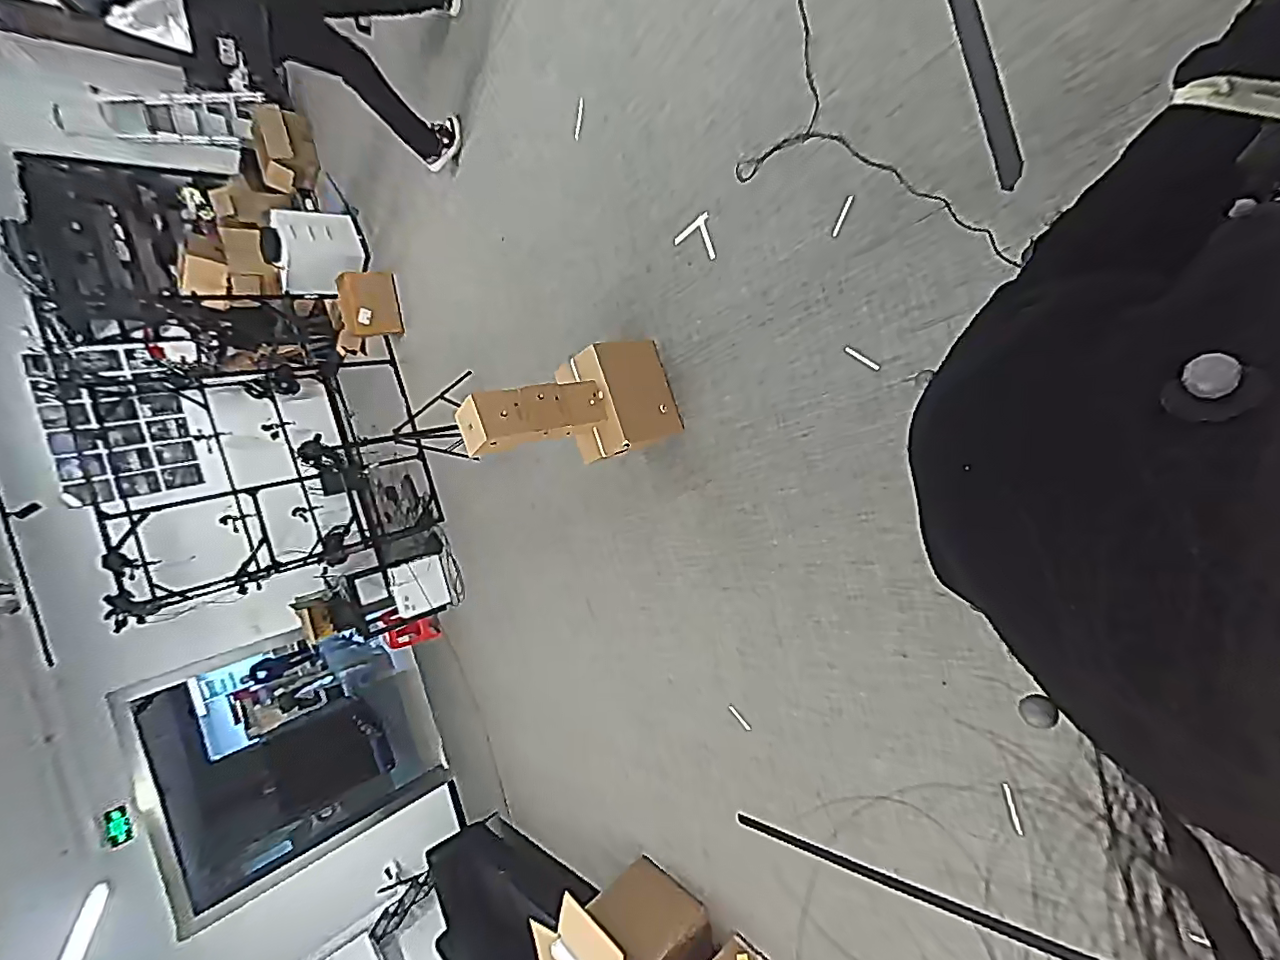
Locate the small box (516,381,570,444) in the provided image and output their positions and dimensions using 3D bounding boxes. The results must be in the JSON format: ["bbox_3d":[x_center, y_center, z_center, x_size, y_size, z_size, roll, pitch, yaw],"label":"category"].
[{"bbox_3d":[-0.369,-0.243,1.940,0.179,0.176,0.168,-24,84,52],"label":"small box"}]

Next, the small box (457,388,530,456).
[{"bbox_3d":[-0.493,-0.201,1.839,0.179,0.176,0.168,-30,79,50],"label":"small box"}]

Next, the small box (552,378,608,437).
[{"bbox_3d":[-0.250,-0.275,2.045,0.179,0.176,0.168,-21,87,51],"label":"small box"}]
